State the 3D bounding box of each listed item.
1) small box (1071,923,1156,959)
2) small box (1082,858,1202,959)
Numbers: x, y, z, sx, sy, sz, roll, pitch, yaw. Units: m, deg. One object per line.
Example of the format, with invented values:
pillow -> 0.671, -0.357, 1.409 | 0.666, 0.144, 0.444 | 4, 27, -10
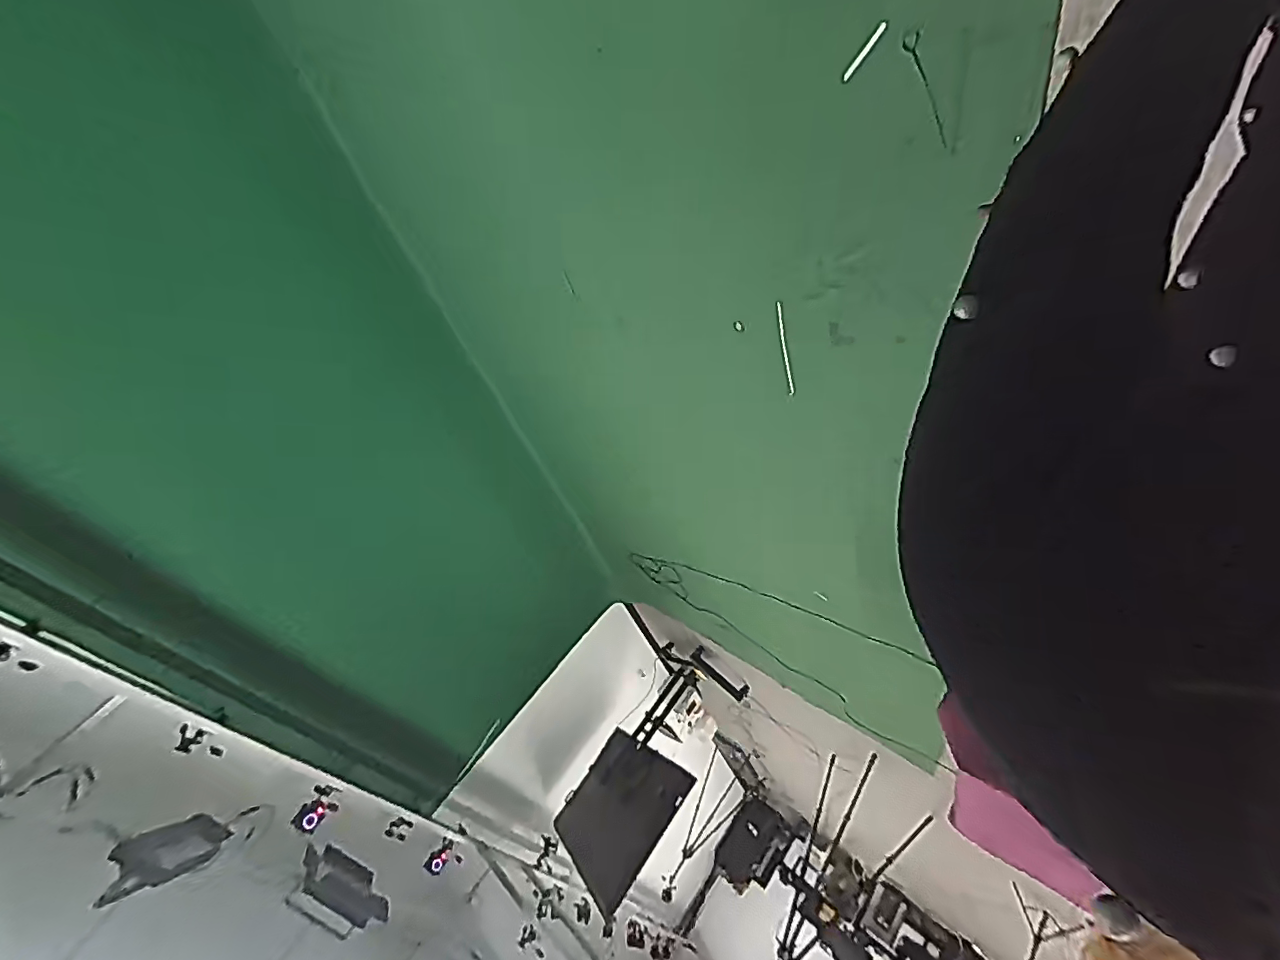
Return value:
small box -> 1.114, 1.177, 1.251 | 0.168, 0.176, 0.179 | 21, 149, 39
small box -> 1.216, 1.066, 1.313 | 0.168, 0.176, 0.179 | 21, 149, 39
